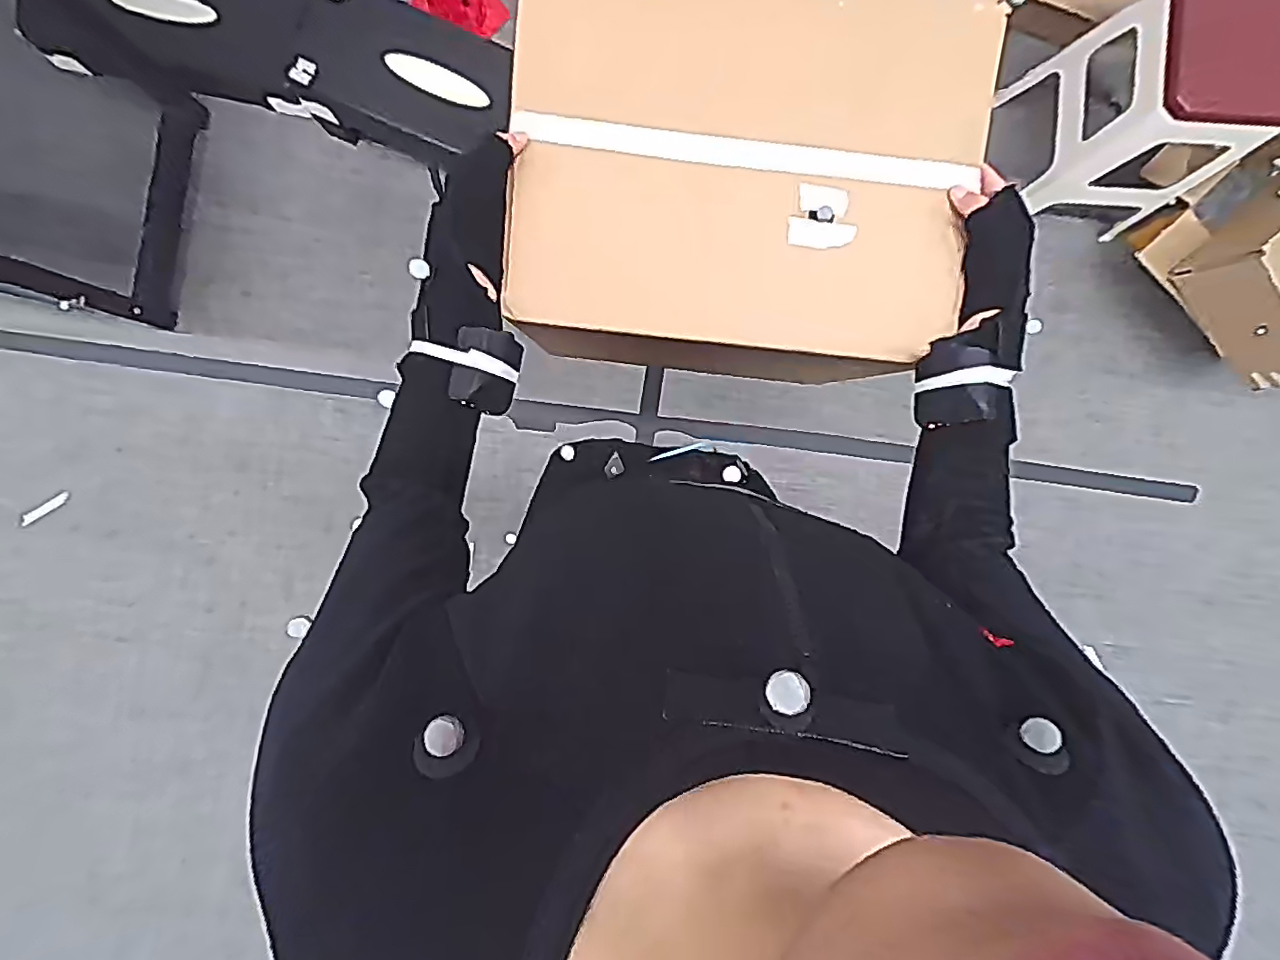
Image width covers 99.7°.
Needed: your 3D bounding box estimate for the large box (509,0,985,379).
[{"bbox_3d":[0.082,-0.297,0.623,0.408,0.320,0.320,6,98,-4],"label":"large box"}]
